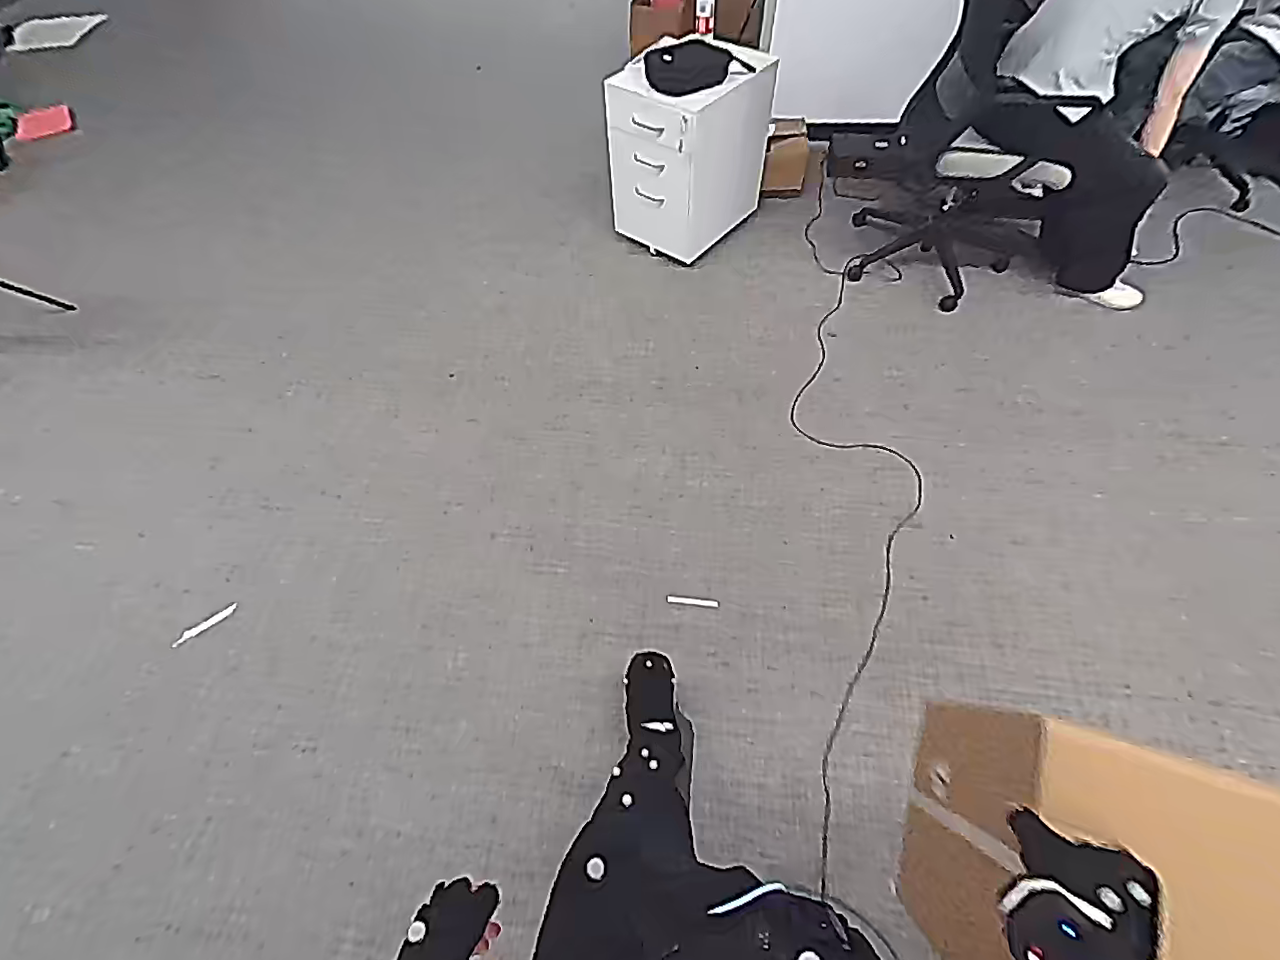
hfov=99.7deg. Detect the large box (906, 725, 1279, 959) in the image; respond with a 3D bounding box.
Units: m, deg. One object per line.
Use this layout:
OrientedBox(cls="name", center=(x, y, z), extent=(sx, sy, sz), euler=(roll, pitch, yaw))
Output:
OrientedBox(cls="large box", center=(0.574, 0.528, 0.680), extent=(0.320, 0.408, 0.320), euler=(17, 72, 19))
